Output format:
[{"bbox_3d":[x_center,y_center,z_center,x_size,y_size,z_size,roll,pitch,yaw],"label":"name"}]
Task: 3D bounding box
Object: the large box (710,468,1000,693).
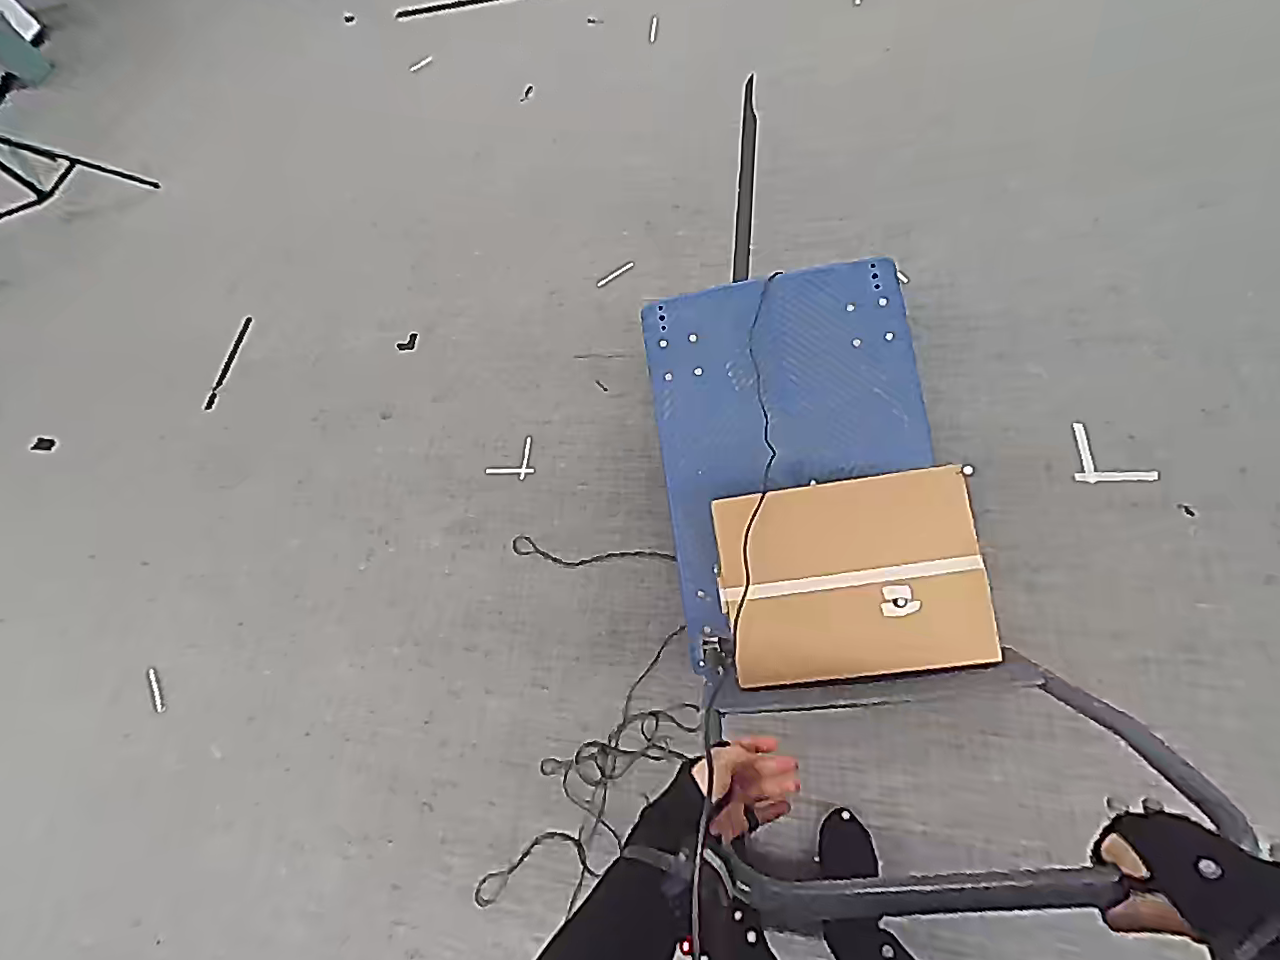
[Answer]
[{"bbox_3d":[0.356,0.177,1.016,0.408,0.320,0.320,-9,85,7],"label":"large box"}]
